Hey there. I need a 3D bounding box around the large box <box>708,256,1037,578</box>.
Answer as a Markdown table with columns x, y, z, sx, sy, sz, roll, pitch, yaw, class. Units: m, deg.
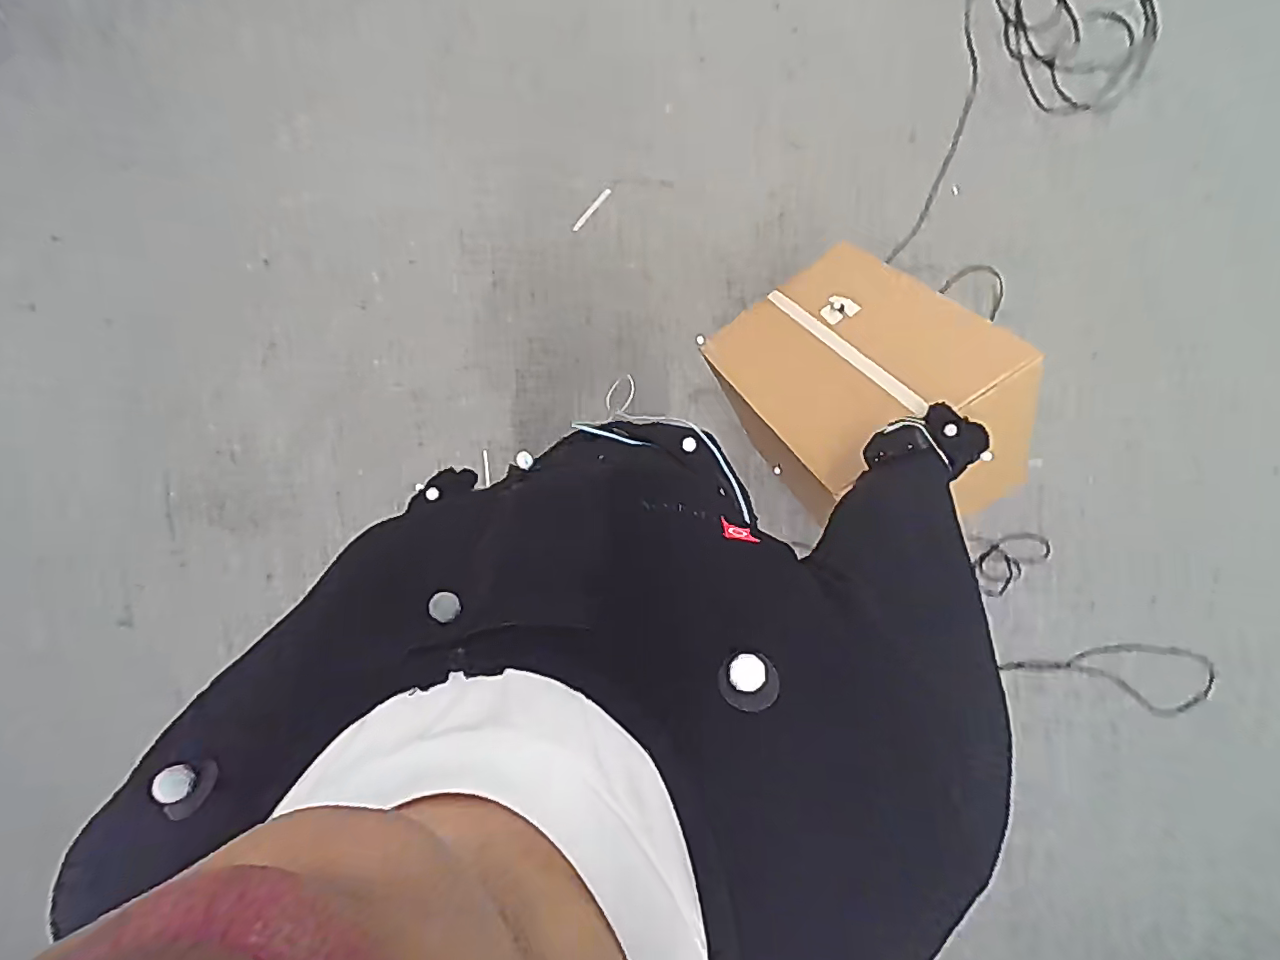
| x | y | z | sx | sy | sz | roll | pitch | yaw | class |
| --- | --- | --- | --- | --- | --- | --- | --- | --- | --- |
| 0.387 | -0.111 | 0.947 | 0.320 | 0.408 | 0.320 | -34 | 137 | 6 | large box |
